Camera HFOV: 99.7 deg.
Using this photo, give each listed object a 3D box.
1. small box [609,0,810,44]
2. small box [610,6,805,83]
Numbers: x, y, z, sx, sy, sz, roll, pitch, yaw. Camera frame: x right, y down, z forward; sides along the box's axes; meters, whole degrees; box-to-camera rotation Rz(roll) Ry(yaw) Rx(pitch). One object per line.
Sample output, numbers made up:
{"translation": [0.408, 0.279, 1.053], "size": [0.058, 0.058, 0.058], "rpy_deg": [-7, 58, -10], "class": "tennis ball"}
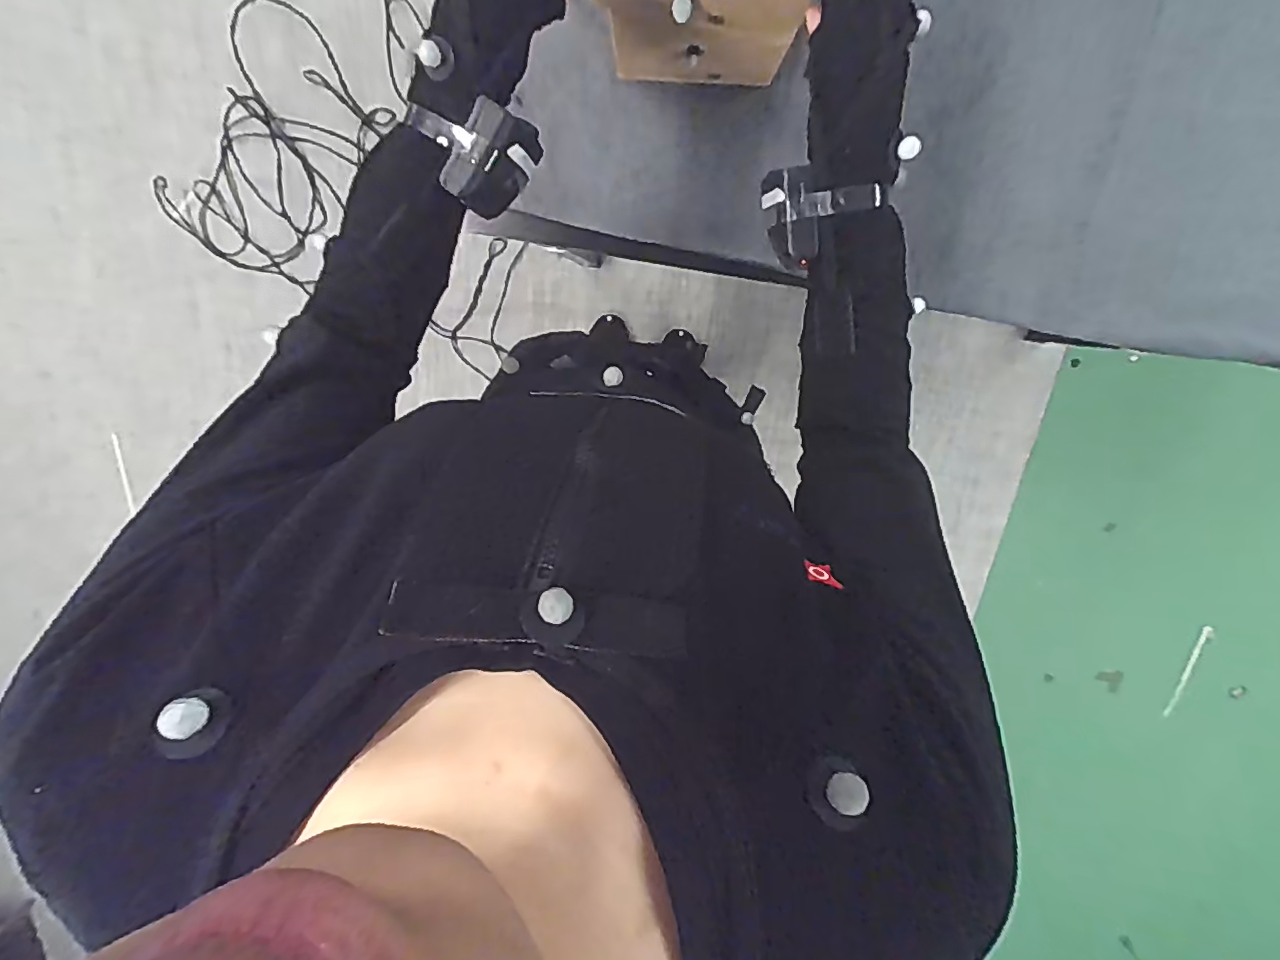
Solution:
{"translation": [0.056, -0.425, 0.338], "size": [0.168, 0.176, 0.179], "rpy_deg": [11, 110, -2], "class": "small box"}
{"translation": [0.063, -0.491, 0.489], "size": [0.168, 0.176, 0.179], "rpy_deg": [3, 108, 0], "class": "small box"}
